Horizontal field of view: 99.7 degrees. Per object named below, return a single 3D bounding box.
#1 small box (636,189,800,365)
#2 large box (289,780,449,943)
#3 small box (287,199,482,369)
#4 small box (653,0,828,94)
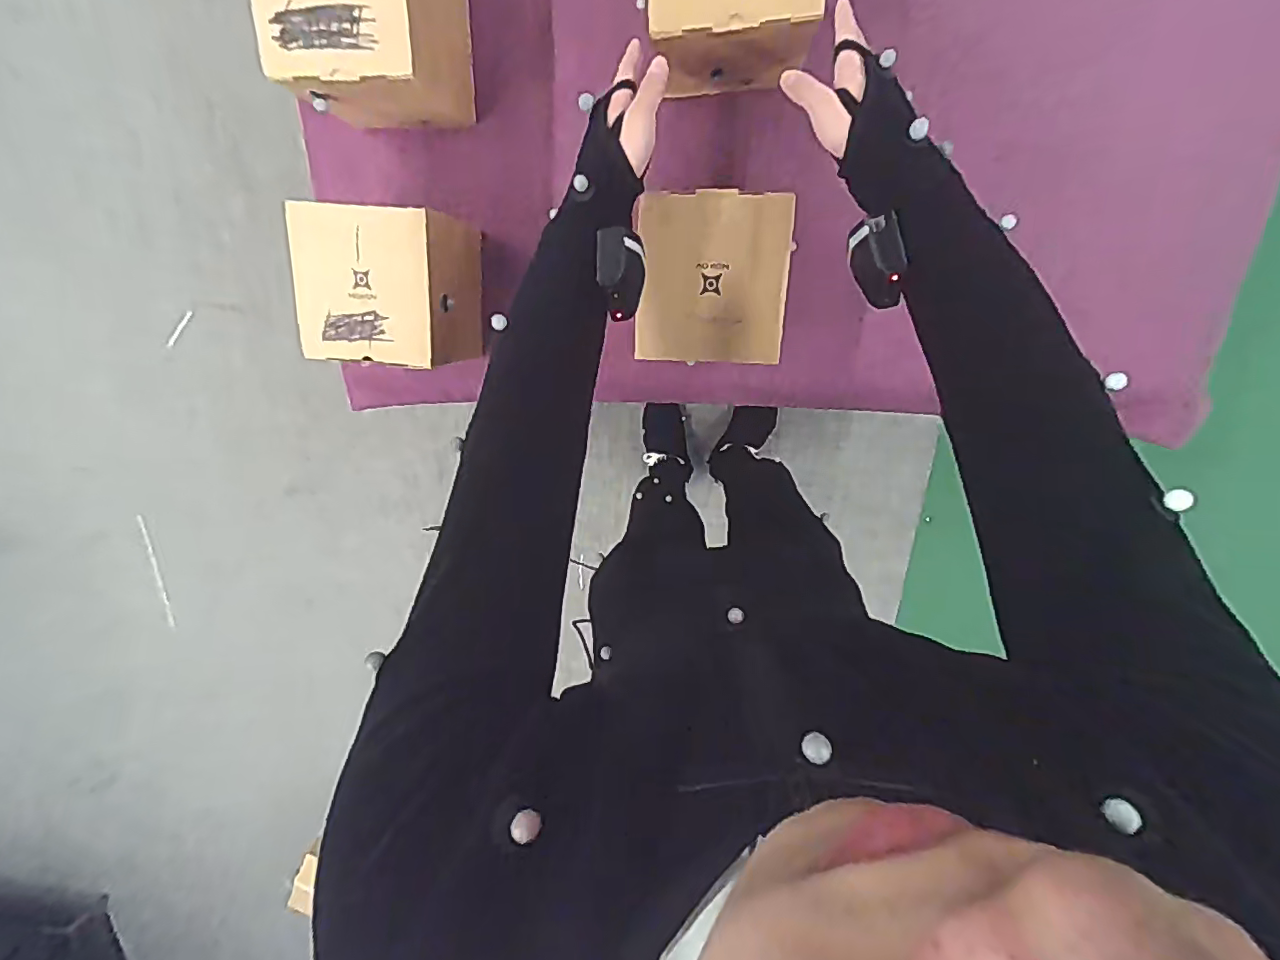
[{"bbox_3d":[0.088,-0.241,0.662,0.168,0.176,0.179,4,108,5],"label":"small box"},{"bbox_3d":[-1.013,1.432,2.050,0.408,0.320,0.320,26,110,-4],"label":"large box"},{"bbox_3d":[-0.311,-0.246,0.697,0.168,0.176,0.179,5,107,3],"label":"small box"},{"bbox_3d":[0.097,-0.536,0.561,0.168,0.176,0.179,-1,110,6],"label":"small box"}]
